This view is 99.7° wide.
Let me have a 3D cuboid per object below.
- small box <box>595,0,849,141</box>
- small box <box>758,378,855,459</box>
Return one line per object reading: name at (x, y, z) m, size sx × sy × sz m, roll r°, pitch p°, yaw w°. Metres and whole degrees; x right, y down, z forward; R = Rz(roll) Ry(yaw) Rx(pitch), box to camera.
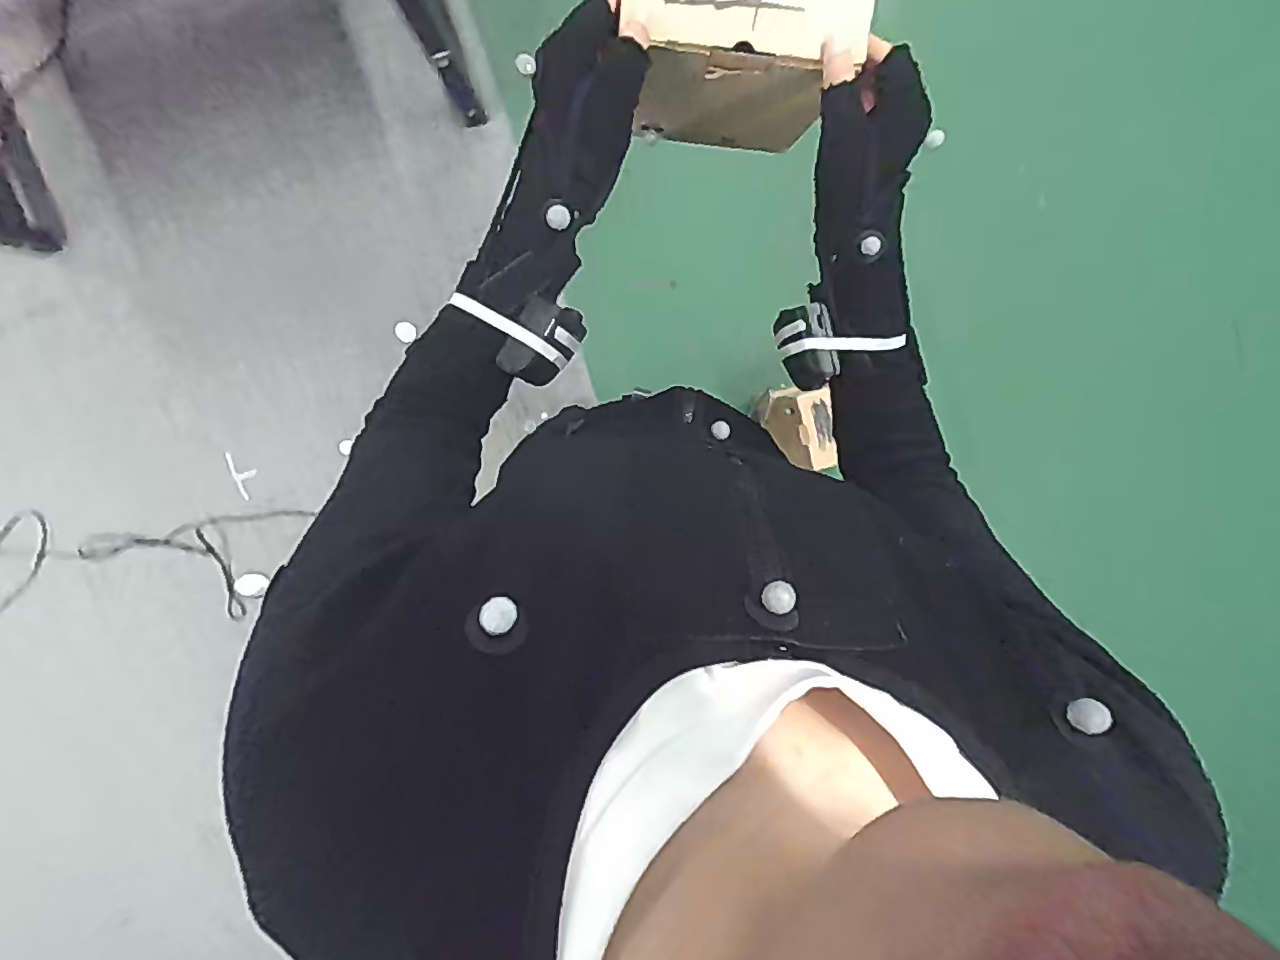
small box at (0.056, -0.386, 0.411) m, size 0.168 × 0.176 × 0.179 m, roll 3°, pitch 103°, yaw -4°
small box at (0.418, -0.160, 1.378) m, size 0.179 × 0.176 × 0.168 m, roll -14°, pitch 98°, yaw 2°
